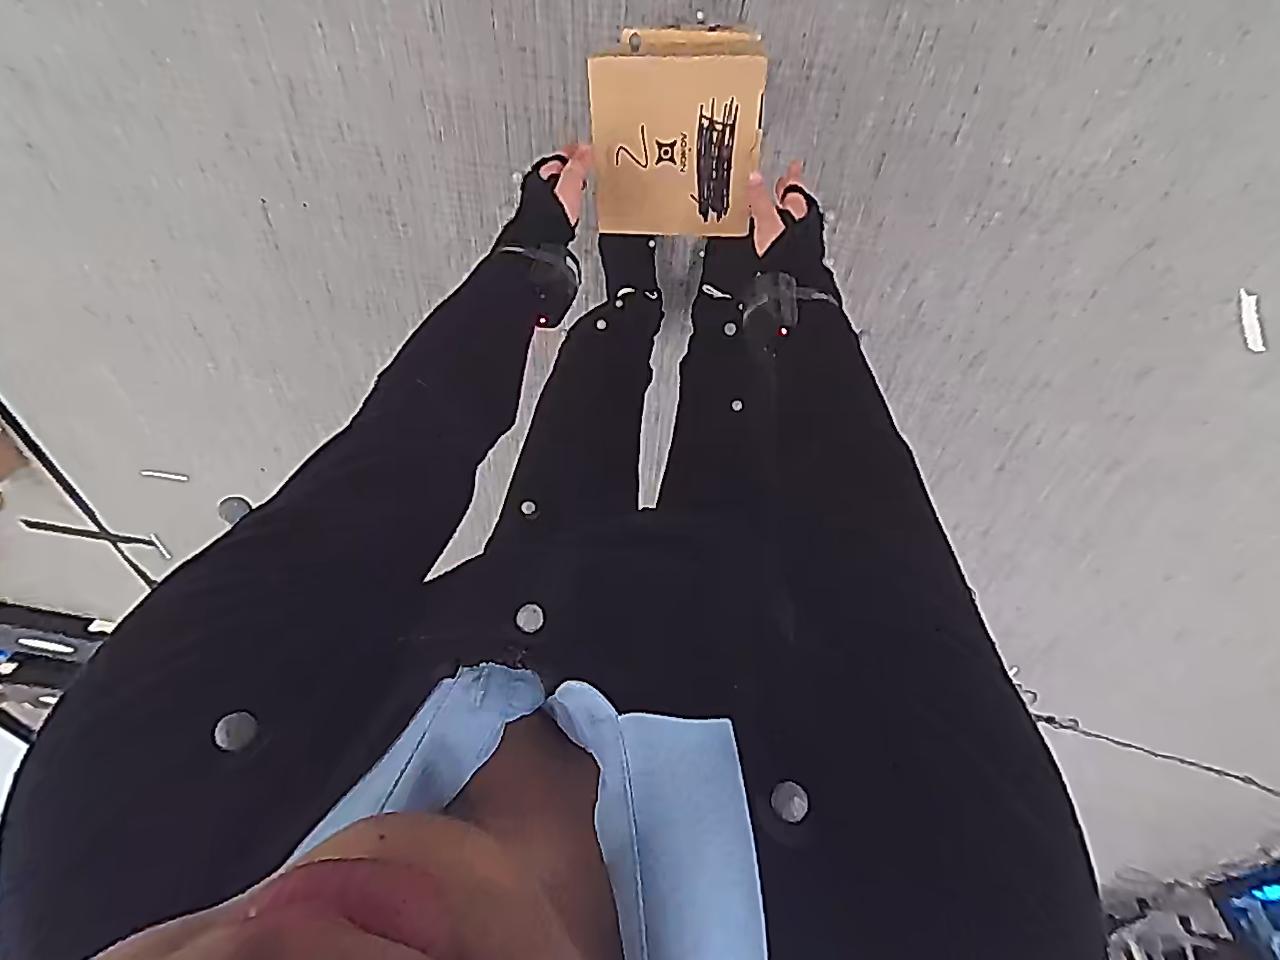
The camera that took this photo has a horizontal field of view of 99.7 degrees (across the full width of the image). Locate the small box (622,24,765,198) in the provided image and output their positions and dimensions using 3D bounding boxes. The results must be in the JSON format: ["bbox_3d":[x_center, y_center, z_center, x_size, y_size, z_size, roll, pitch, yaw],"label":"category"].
[{"bbox_3d":[0.069,-0.506,0.738,0.168,0.176,0.179,6,132,4],"label":"small box"}]
